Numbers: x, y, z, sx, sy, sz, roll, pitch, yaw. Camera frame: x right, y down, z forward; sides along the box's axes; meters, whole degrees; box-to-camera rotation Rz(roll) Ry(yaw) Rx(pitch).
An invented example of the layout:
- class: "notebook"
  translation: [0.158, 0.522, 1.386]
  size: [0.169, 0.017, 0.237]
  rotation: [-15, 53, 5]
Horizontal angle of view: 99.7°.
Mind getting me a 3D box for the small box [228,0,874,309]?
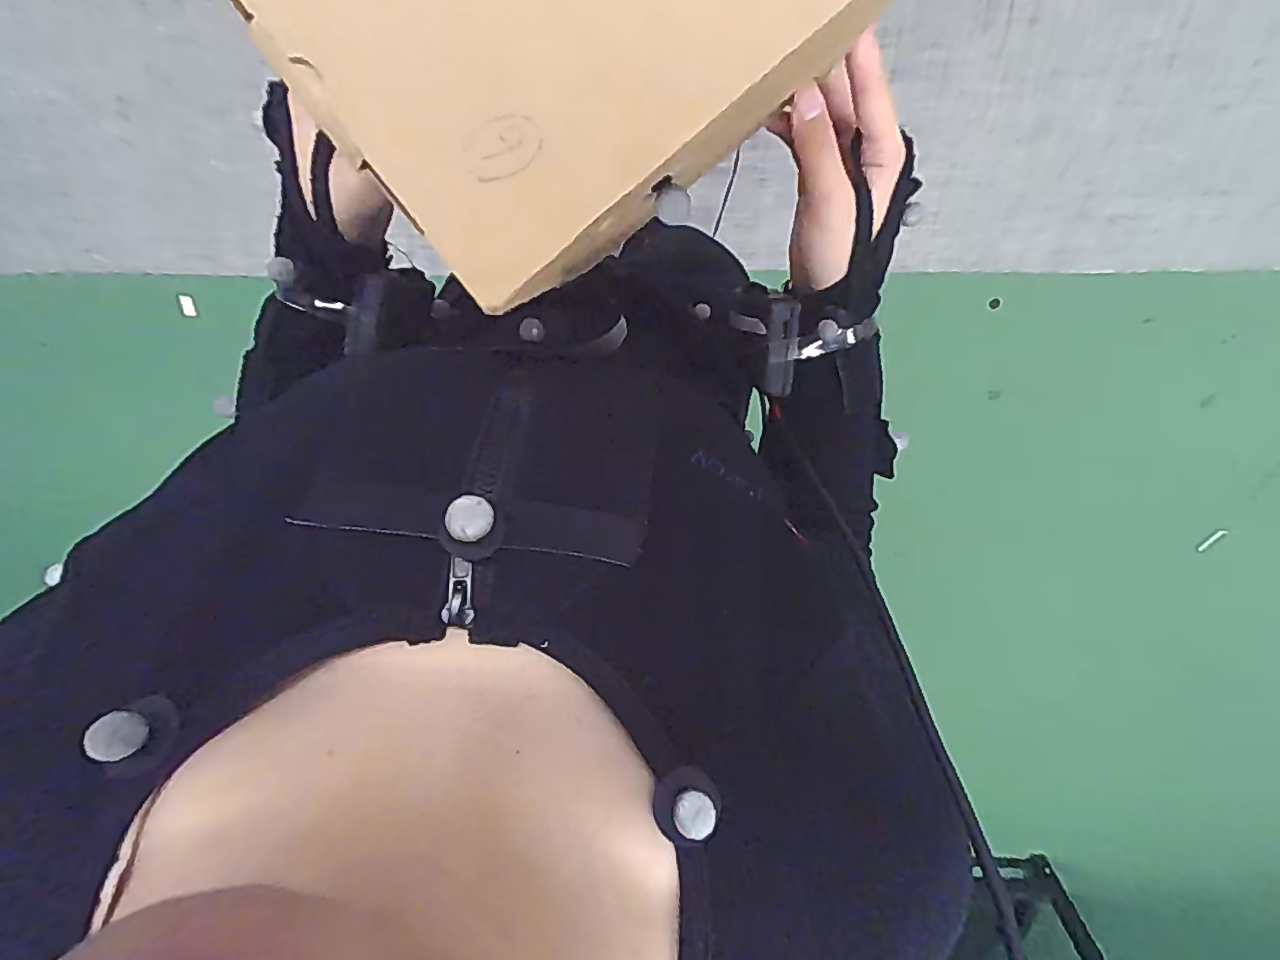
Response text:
- class: "small box"
  translation: [-0.025, -0.195, 0.214]
  size: [0.179, 0.176, 0.168]
  rotation: [-32, 107, 19]
